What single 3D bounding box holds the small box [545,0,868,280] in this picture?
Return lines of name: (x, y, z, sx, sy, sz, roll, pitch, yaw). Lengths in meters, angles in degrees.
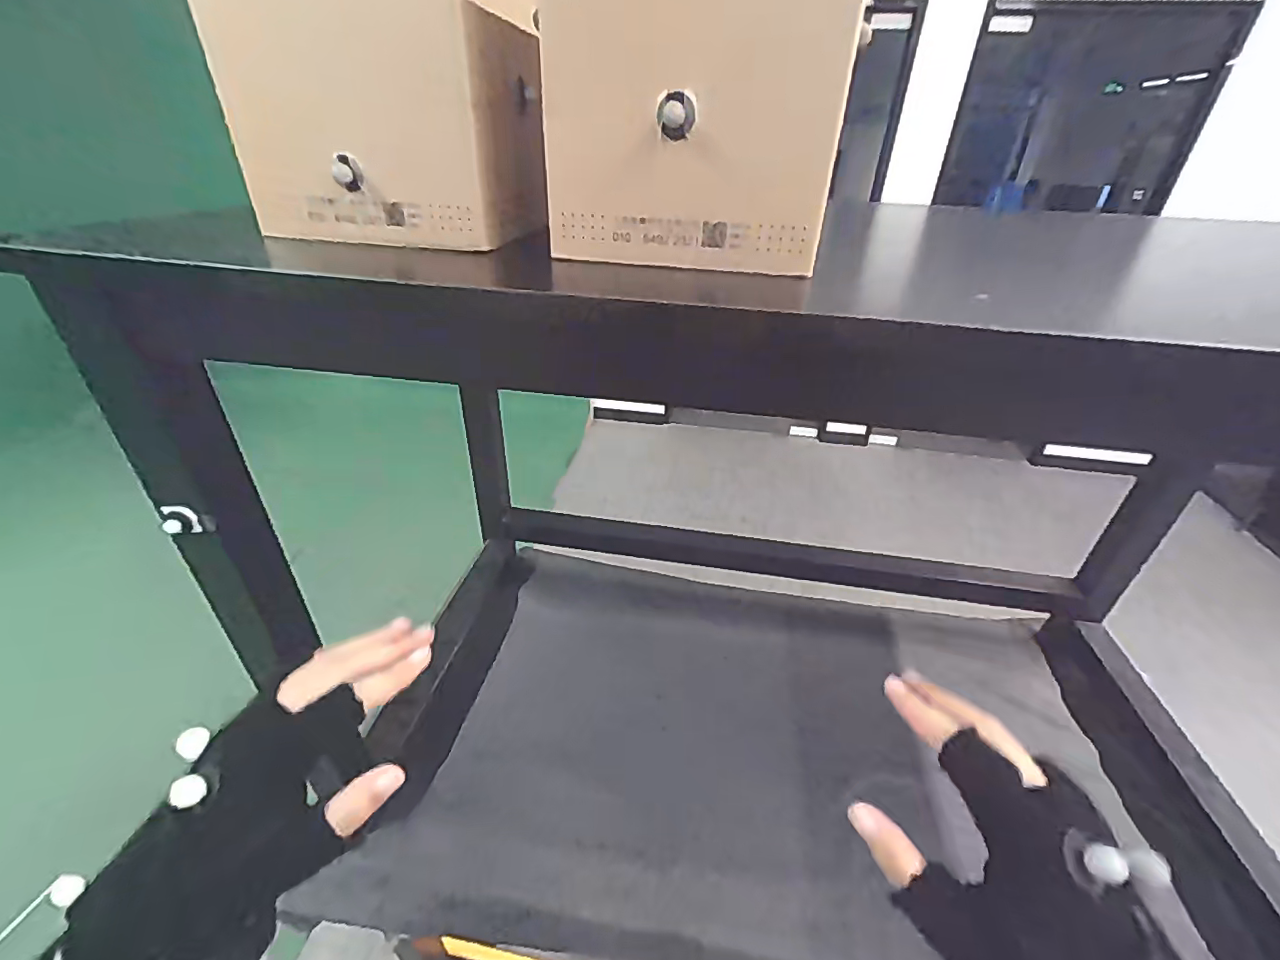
small box: (0.046, -0.240, 0.361, 0.168, 0.176, 0.179, 8, 33, 8)
